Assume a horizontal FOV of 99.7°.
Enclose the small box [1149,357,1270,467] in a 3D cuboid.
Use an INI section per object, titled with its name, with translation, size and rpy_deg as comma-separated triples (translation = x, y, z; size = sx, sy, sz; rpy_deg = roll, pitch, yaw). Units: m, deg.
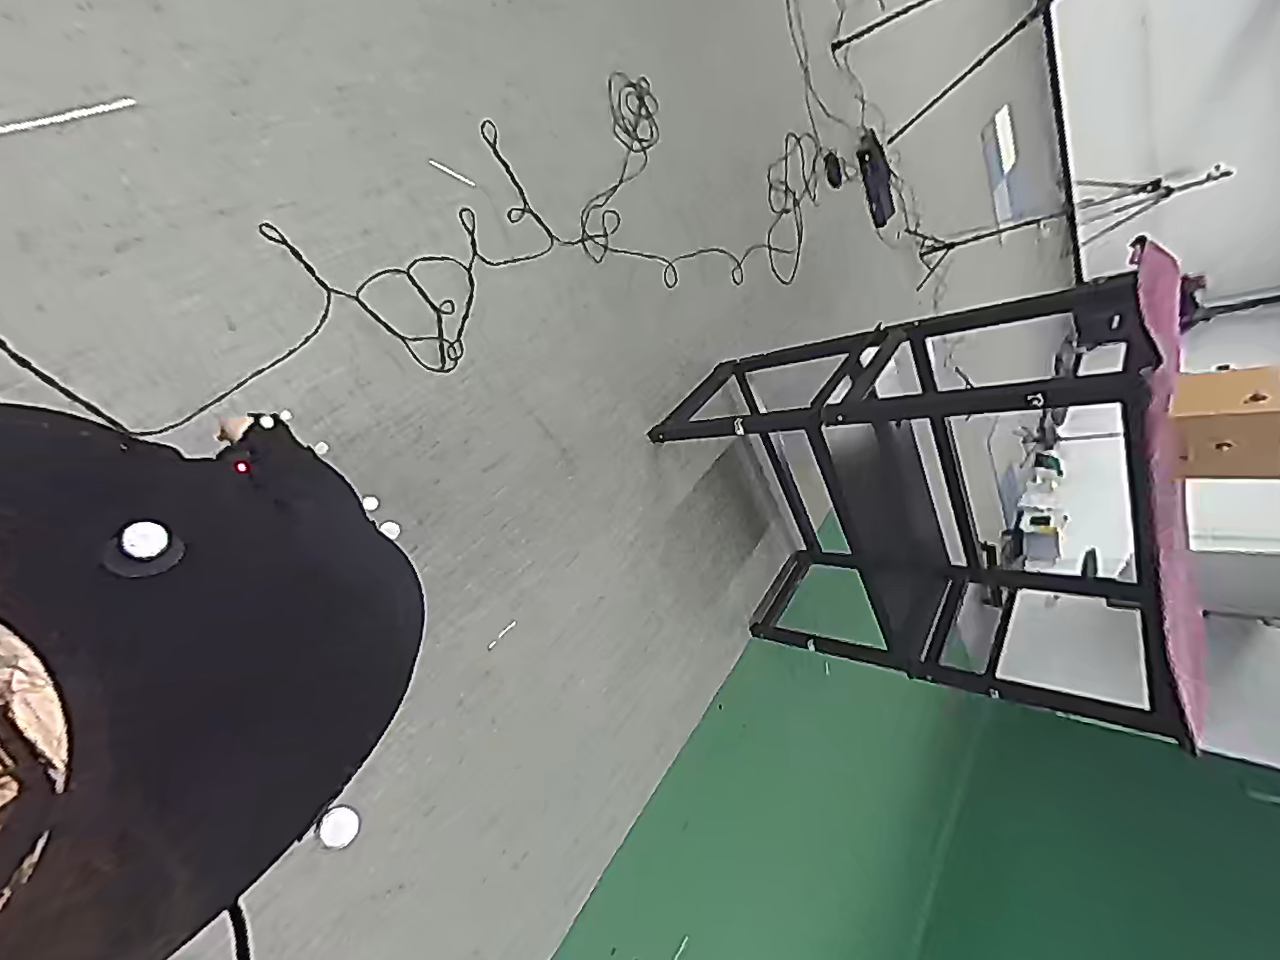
[small box]
translation = 1.209, -0.138, 1.154
size = 0.179, 0.176, 0.168
rpy_deg = -48, 121, -34
